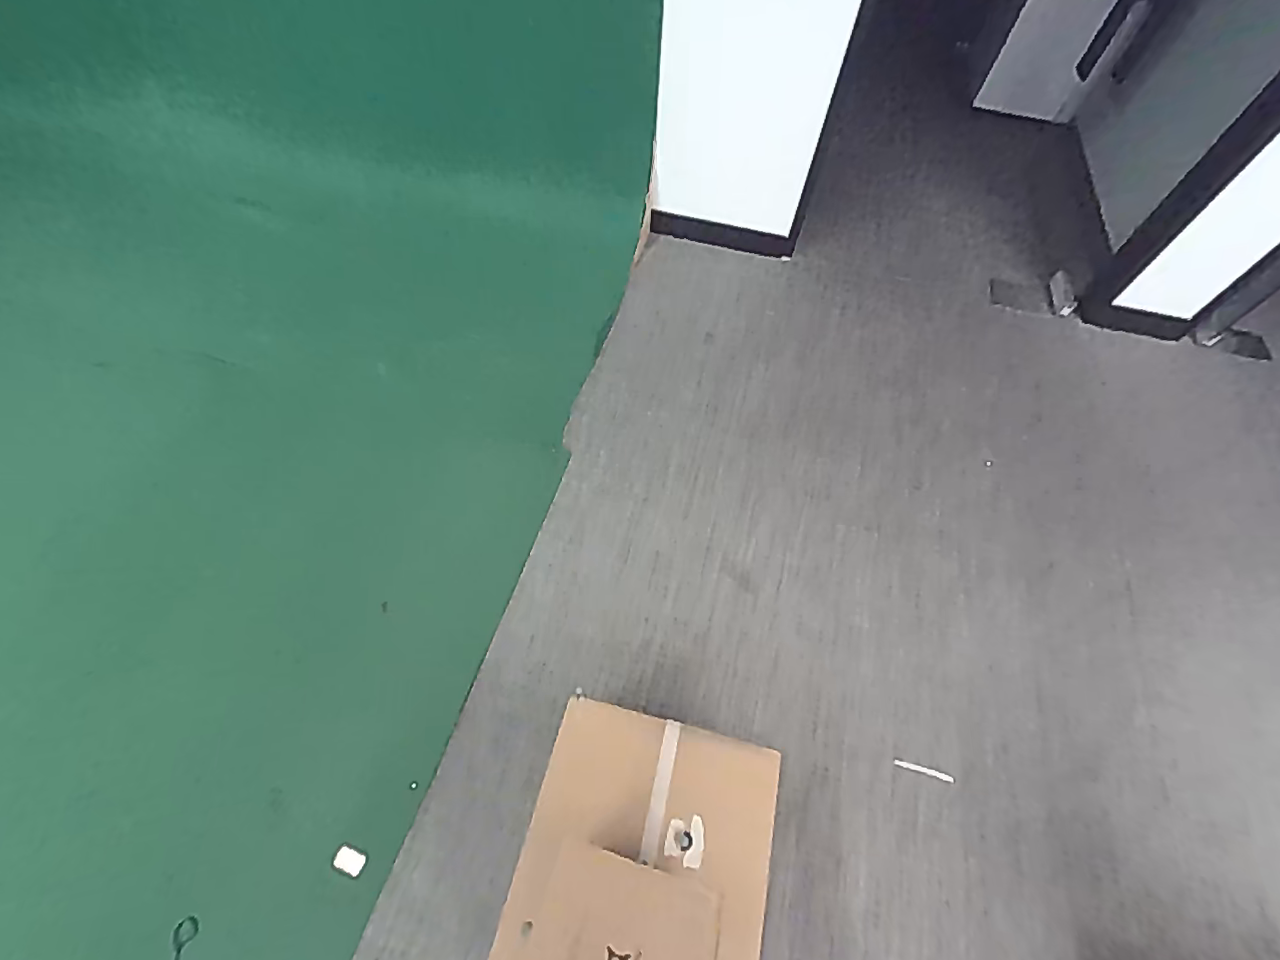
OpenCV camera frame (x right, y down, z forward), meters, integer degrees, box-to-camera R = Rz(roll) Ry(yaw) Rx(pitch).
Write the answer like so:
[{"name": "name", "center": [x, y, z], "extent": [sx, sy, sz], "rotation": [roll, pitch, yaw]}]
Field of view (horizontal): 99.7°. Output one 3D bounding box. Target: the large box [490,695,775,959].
[{"name": "large box", "center": [-0.006, 0.591, 0.801], "extent": [0.320, 0.320, 0.408], "rotation": [14, 58, 6]}]

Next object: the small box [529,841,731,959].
[{"name": "small box", "center": [-0.024, 0.504, 0.543], "extent": [0.179, 0.176, 0.168], "rotation": [17, 42, 6]}]
